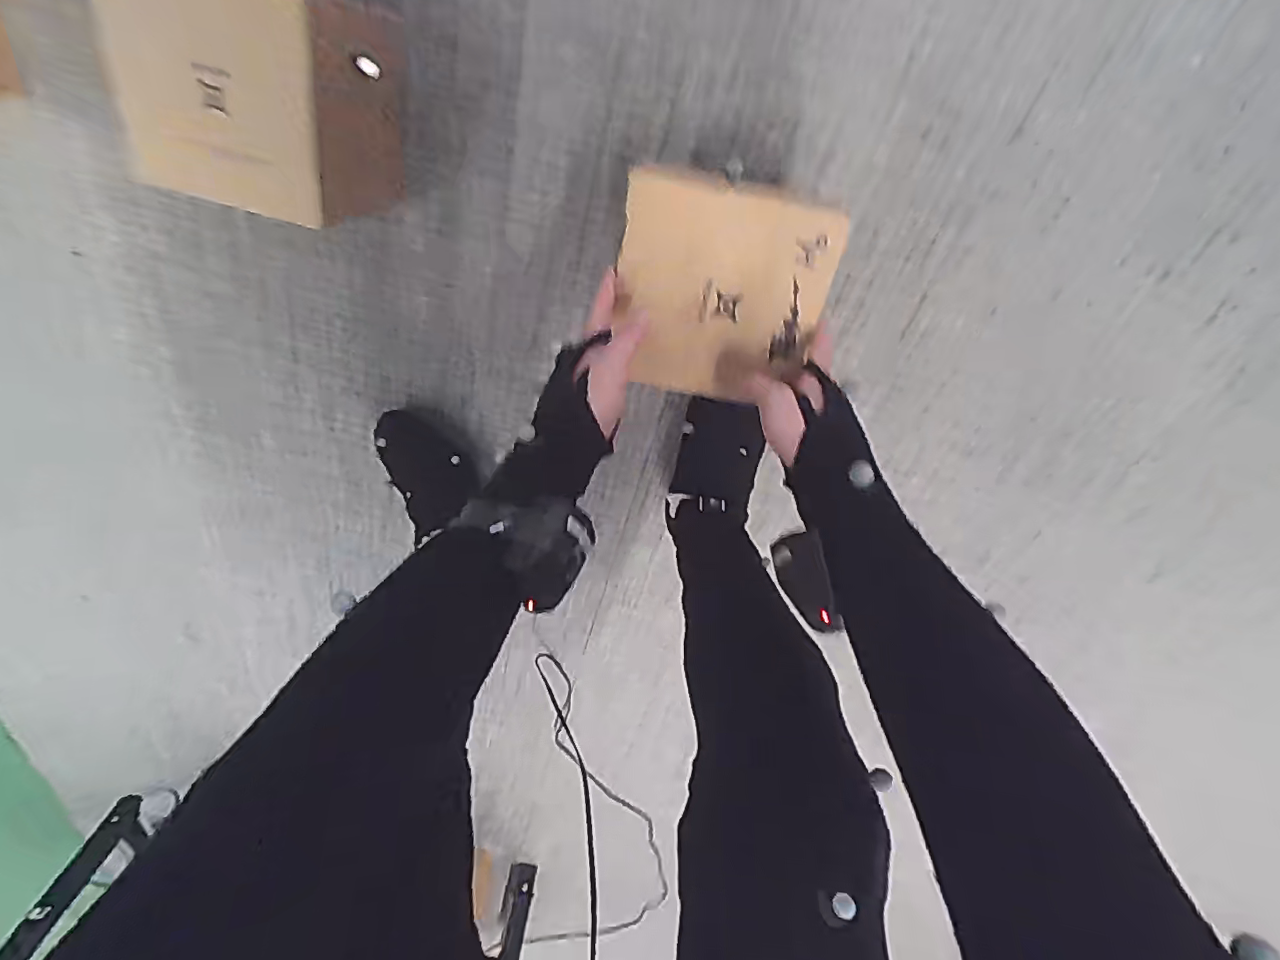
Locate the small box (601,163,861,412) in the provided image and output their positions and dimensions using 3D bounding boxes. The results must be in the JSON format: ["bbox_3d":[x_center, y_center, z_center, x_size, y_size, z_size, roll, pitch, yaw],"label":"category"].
[{"bbox_3d":[0.071,-0.186,0.506,0.179,0.176,0.168,11,122,-2],"label":"small box"}]

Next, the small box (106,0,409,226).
[{"bbox_3d":[-0.332,-0.362,0.505,0.168,0.176,0.179,14,123,-4],"label":"small box"}]
